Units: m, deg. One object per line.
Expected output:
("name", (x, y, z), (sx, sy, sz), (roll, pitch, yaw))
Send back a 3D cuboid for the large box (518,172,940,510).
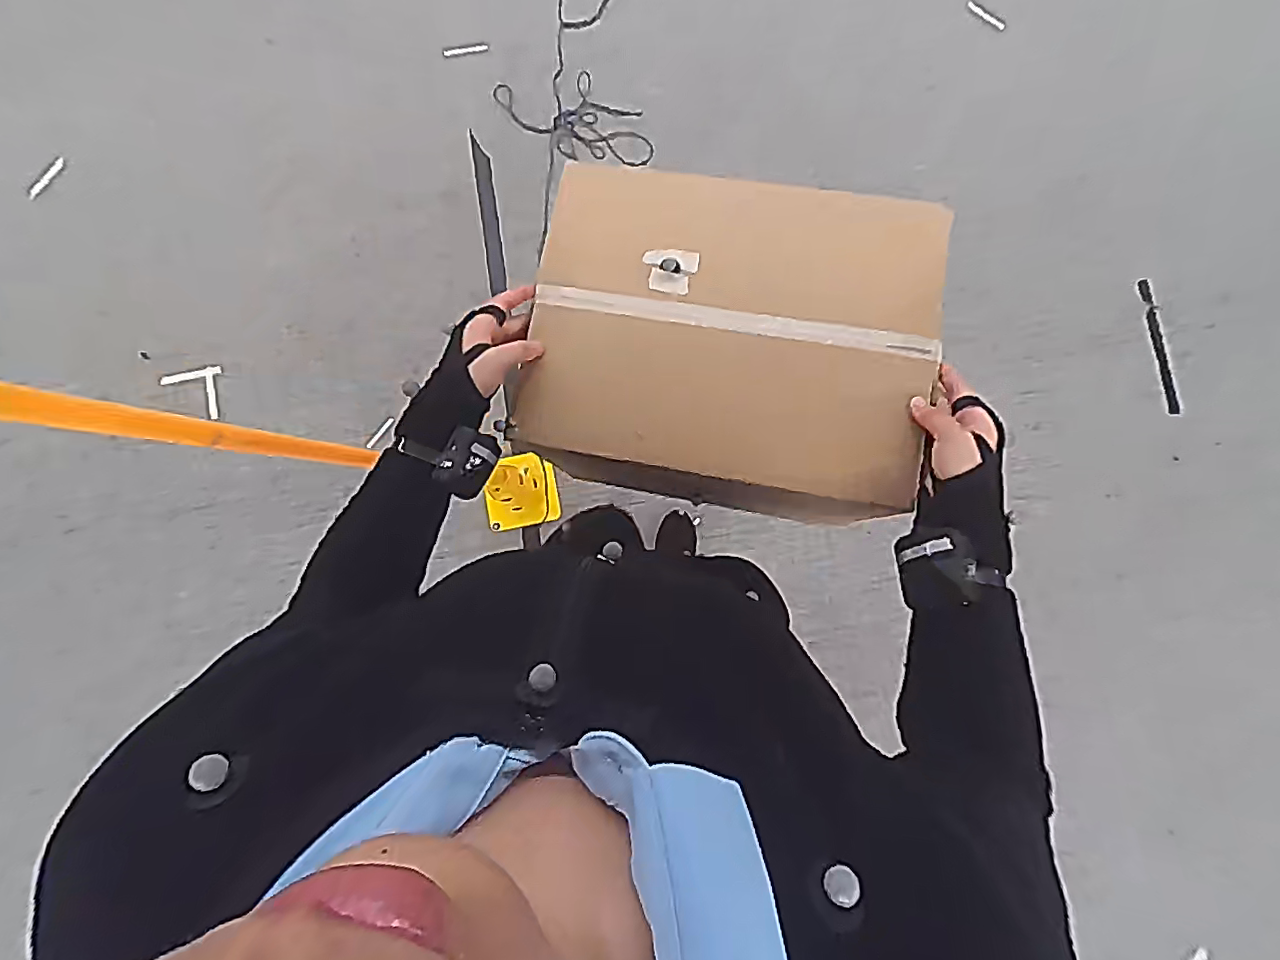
("large box", (0.106, -0.145, 0.704), (0.408, 0.320, 0.320), (9, 83, 7))
